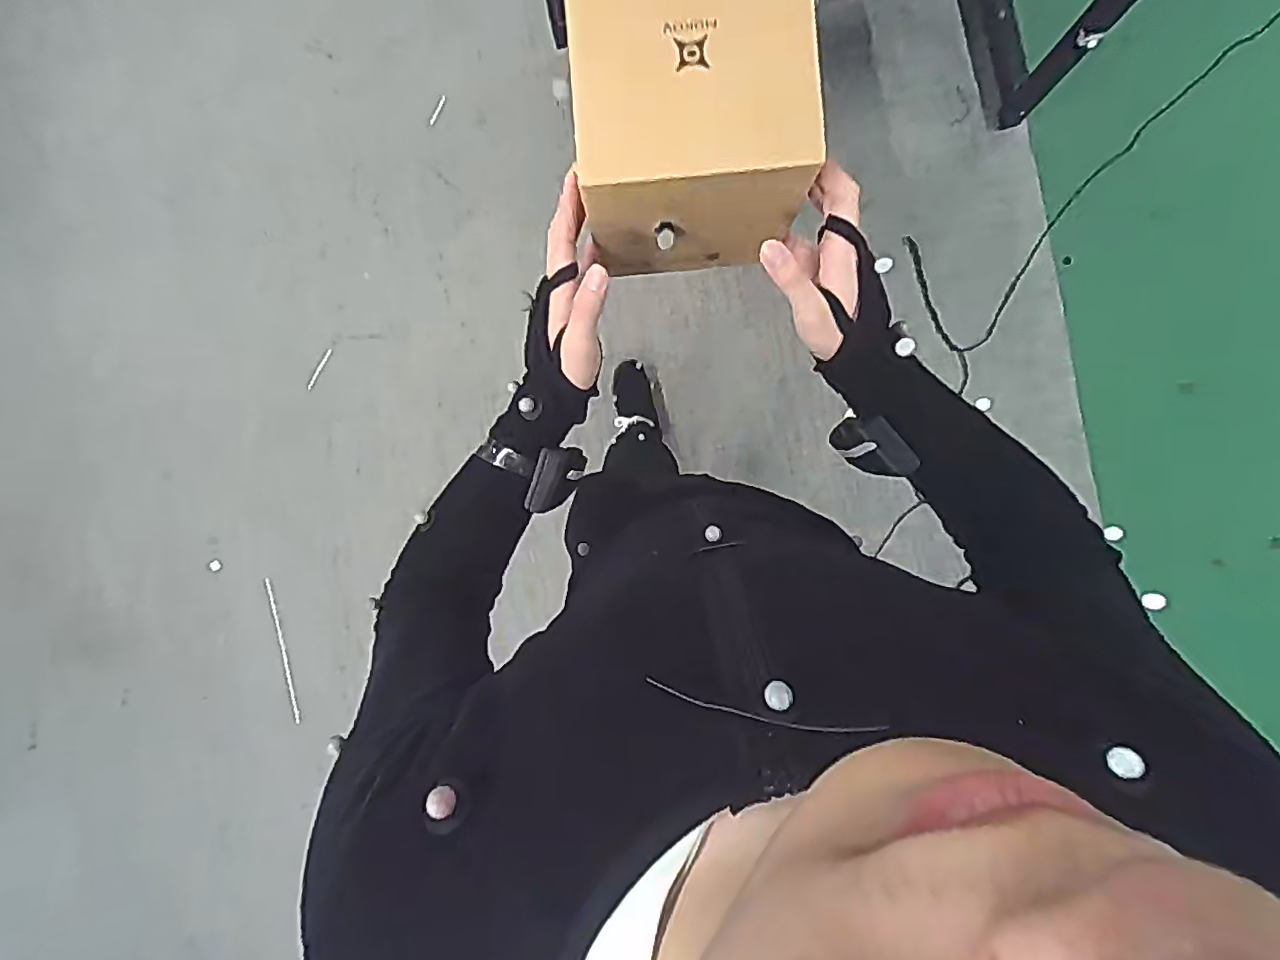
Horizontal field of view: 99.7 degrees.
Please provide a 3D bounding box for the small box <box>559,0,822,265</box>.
[{"bbox_3d":[0.036,-0.288,0.431,0.168,0.176,0.179,-5,88,3],"label":"small box"}]
